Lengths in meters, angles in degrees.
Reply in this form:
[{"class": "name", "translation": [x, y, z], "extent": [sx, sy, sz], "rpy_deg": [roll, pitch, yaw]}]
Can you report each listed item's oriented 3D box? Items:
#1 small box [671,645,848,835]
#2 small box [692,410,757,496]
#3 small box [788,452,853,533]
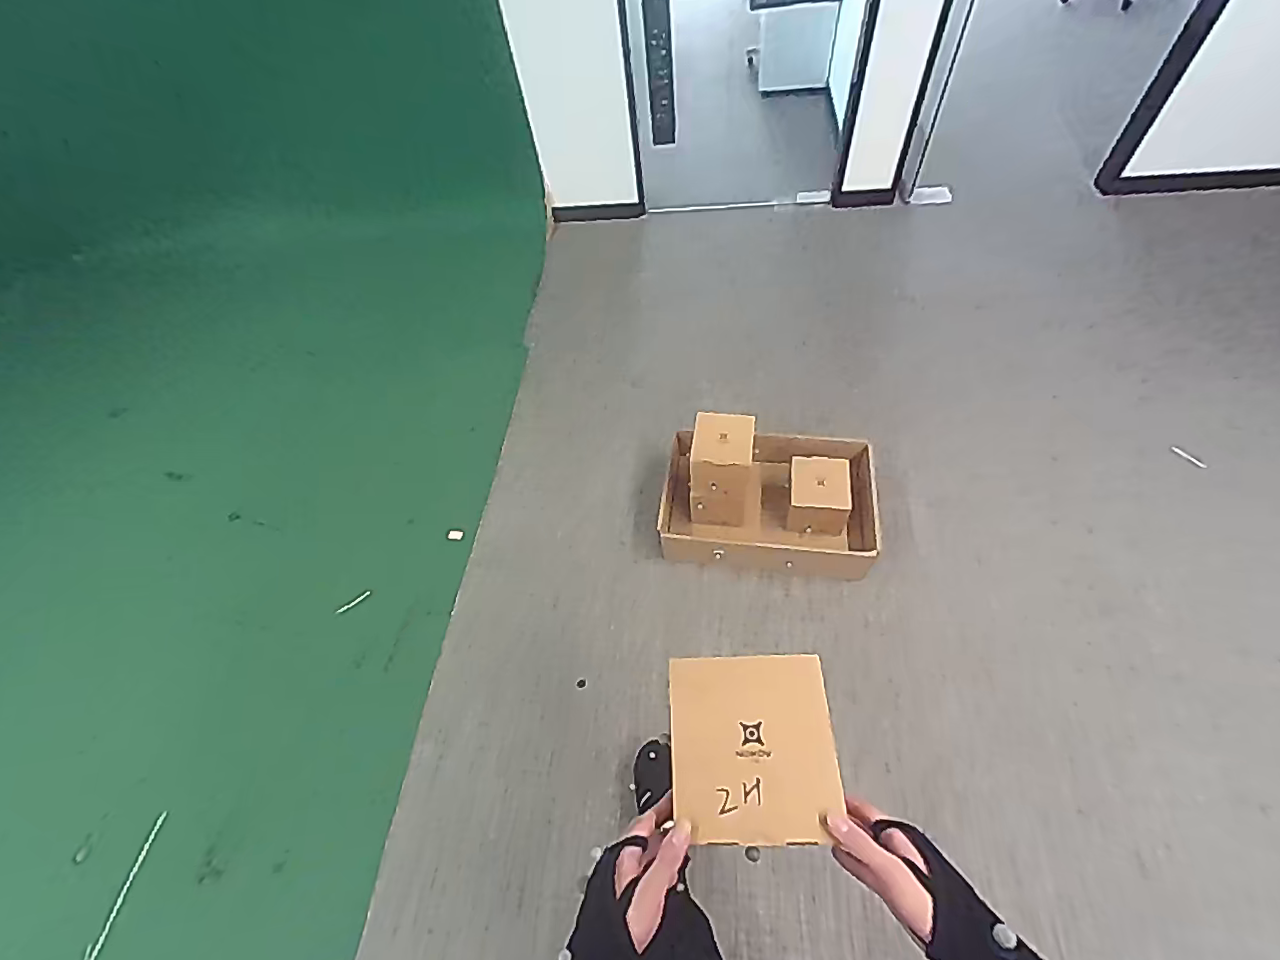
[{"class": "small box", "translation": [0.121, 0.299, 0.618], "extent": [0.168, 0.176, 0.179], "rpy_deg": [-3, 58, 6]}, {"class": "small box", "translation": [0.240, -0.076, 1.548], "extent": [0.168, 0.176, 0.179], "rpy_deg": [5, 57, 10]}, {"class": "small box", "translation": [0.537, 0.038, 1.627], "extent": [0.168, 0.176, 0.179], "rpy_deg": [4, 58, 11]}]
